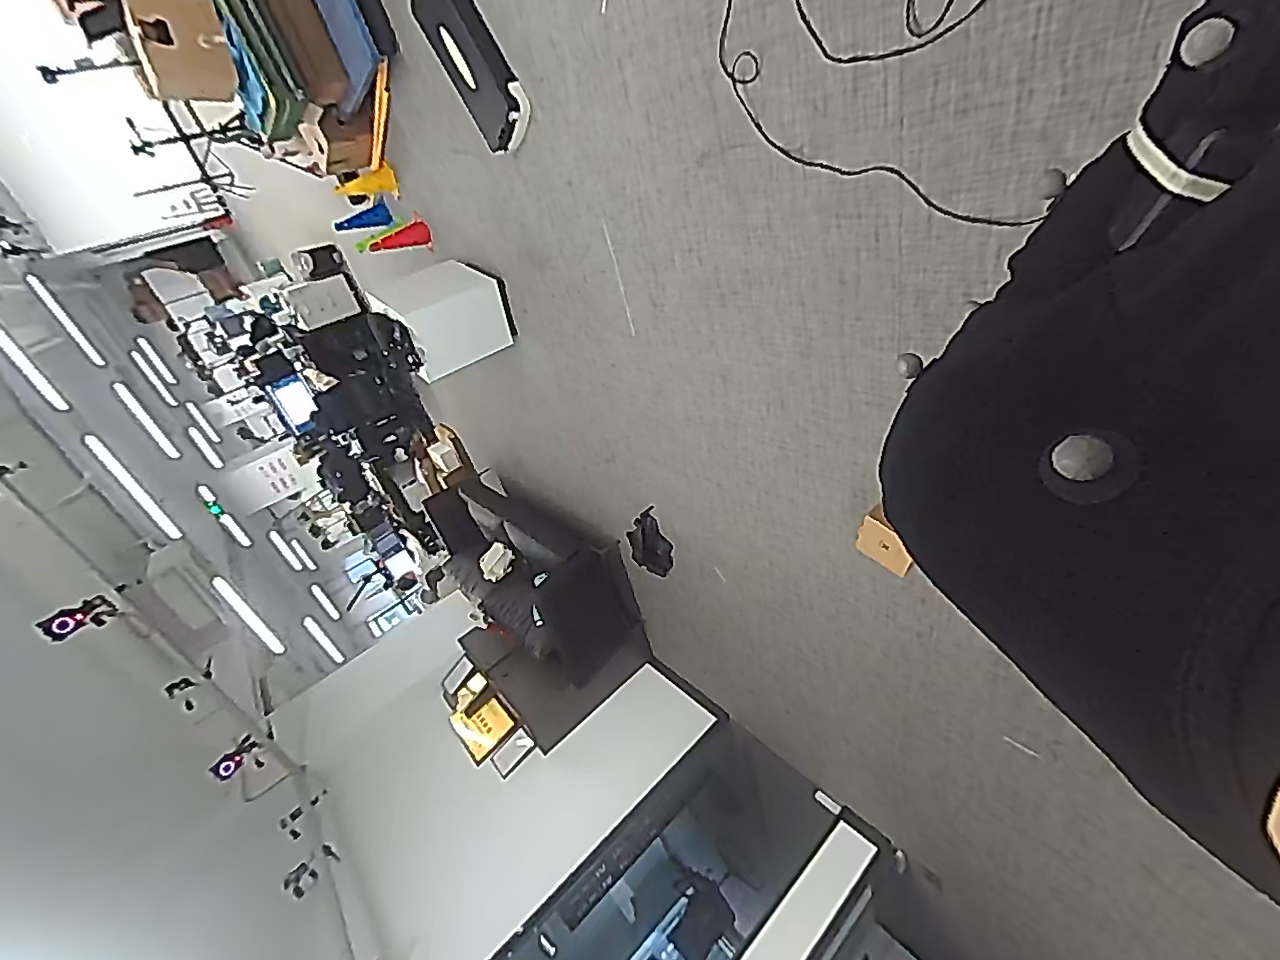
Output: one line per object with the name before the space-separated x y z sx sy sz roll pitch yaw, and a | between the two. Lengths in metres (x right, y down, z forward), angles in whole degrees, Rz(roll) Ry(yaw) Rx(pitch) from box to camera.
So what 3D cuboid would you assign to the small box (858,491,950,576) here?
small box | 0.824 0.159 1.693 0.179 0.176 0.168 36 148 33
